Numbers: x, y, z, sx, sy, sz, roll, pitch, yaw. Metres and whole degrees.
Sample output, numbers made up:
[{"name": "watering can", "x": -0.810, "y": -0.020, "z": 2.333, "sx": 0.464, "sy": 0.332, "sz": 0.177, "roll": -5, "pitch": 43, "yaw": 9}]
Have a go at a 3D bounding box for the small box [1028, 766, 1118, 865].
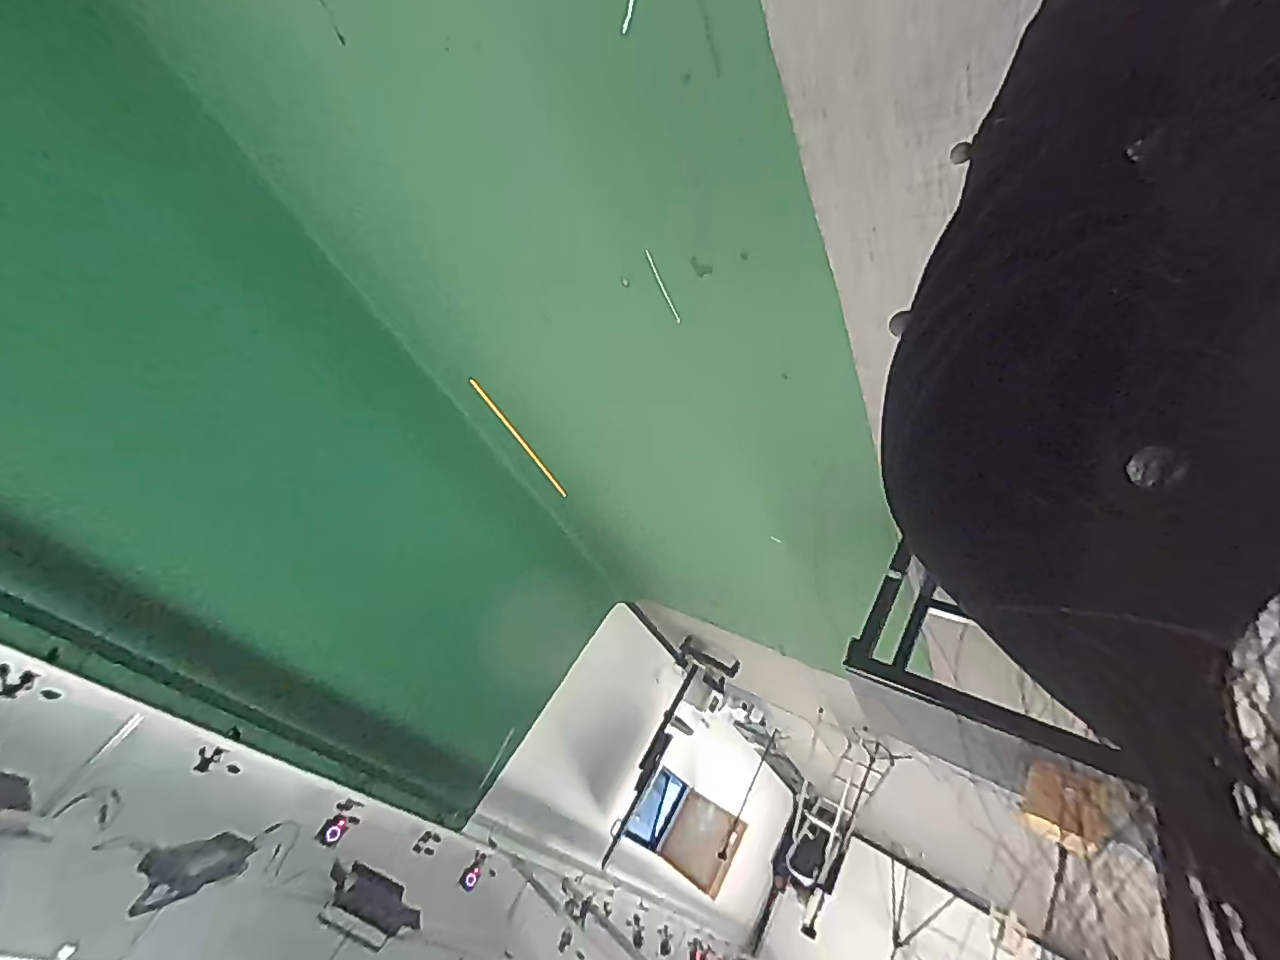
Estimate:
[{"name": "small box", "x": 1.247, "y": 0.962, "z": 1.558, "sx": 0.168, "sy": 0.176, "sz": 0.179, "roll": 15, "pitch": 148, "yaw": 38}]
